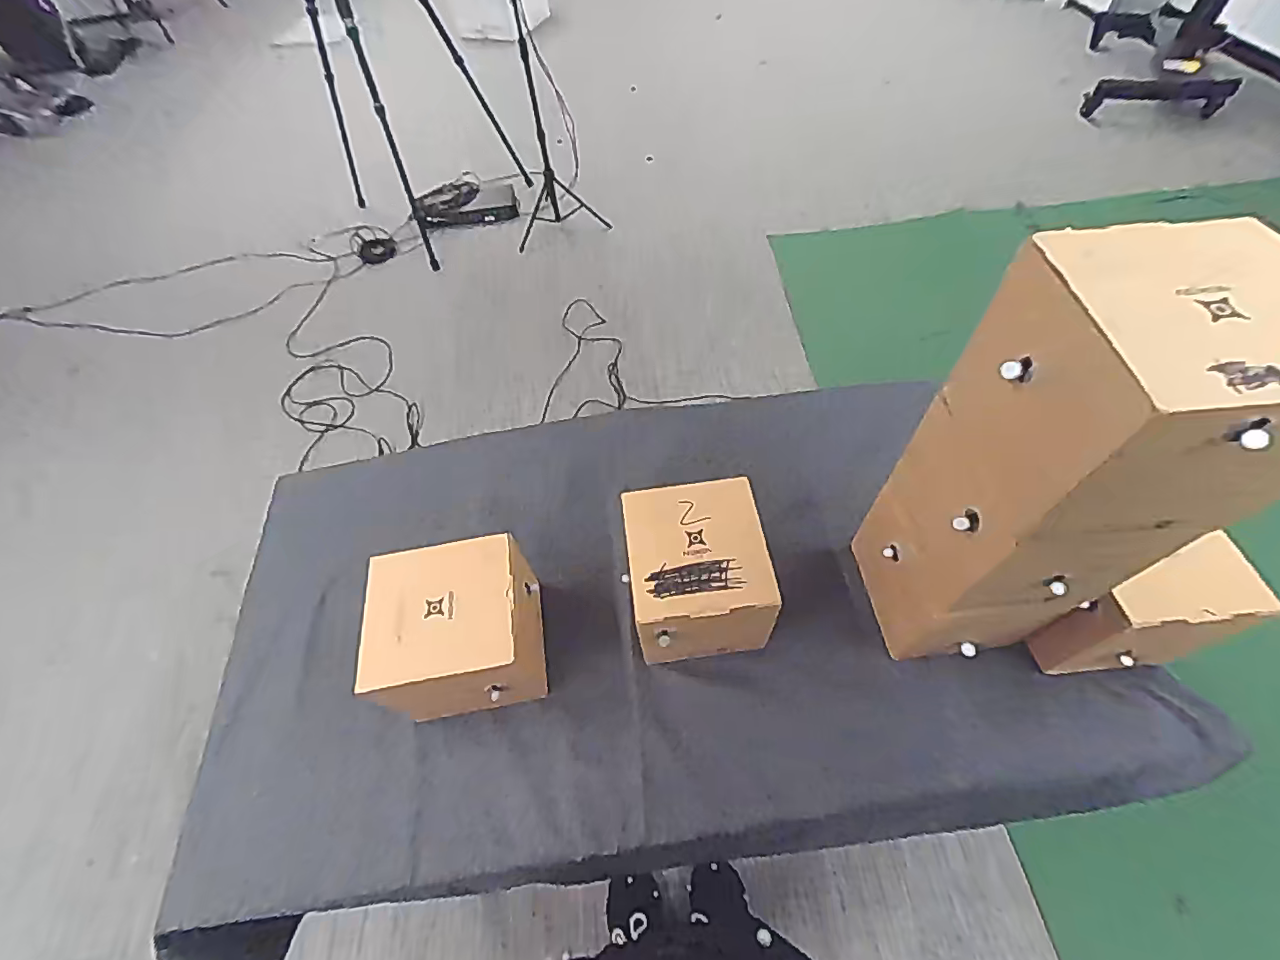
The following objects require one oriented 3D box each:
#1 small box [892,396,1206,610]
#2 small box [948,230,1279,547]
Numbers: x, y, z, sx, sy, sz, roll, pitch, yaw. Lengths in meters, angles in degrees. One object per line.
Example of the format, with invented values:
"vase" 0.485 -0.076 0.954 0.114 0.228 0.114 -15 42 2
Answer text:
"small box" 0.390 0.026 0.560 0.168 0.176 0.179 -5 55 1
"small box" 0.378 -0.066 0.423 0.168 0.176 0.179 -4 55 2
